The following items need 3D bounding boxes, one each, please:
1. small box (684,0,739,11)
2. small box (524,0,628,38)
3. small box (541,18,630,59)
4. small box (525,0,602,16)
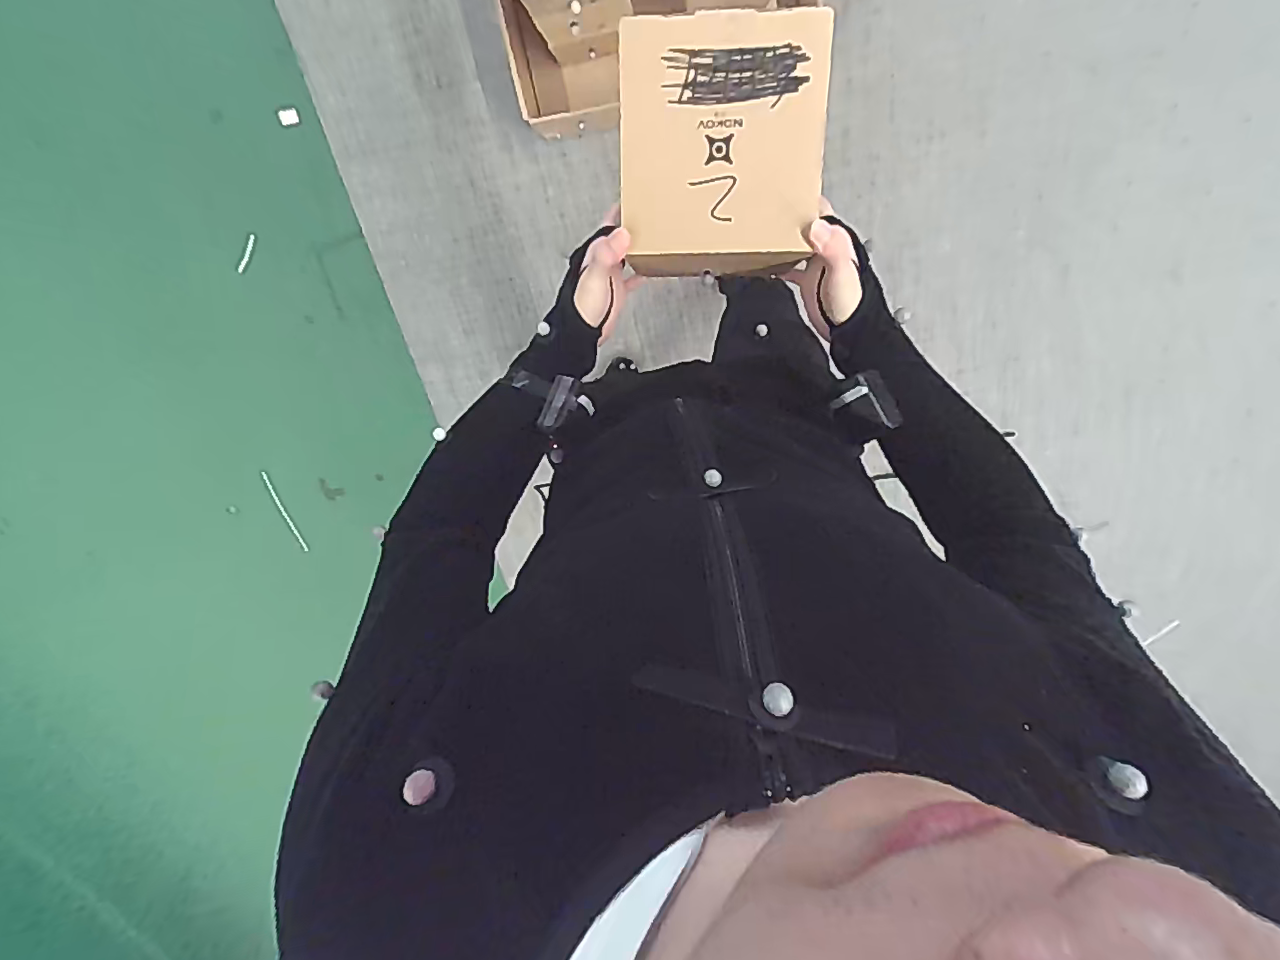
[{"bbox_3d":[0.142,-0.923,0.889,0.168,0.176,0.179,-7,116,8],"label":"small box"},{"bbox_3d":[-0.118,-0.888,0.920,0.168,0.176,0.179,-9,116,7],"label":"small box"},{"bbox_3d":[-0.117,-0.961,1.064,0.168,0.176,0.179,-9,116,6],"label":"small box"},{"bbox_3d":[-0.120,-0.815,0.773,0.168,0.176,0.179,-9,117,7],"label":"small box"}]
